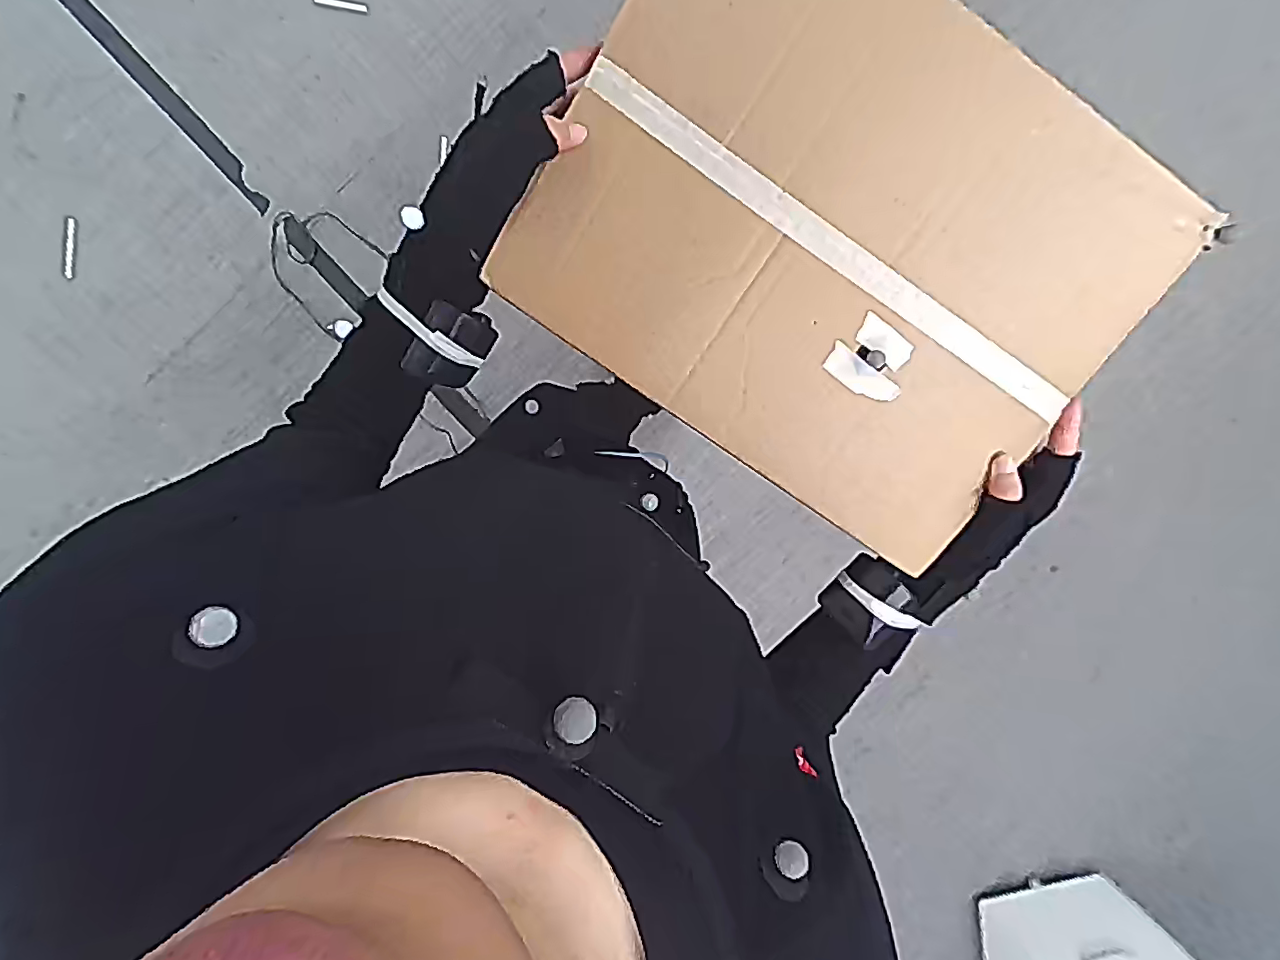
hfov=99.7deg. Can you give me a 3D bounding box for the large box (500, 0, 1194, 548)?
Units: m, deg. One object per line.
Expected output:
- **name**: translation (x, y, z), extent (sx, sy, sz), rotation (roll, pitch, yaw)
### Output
- **large box**: translation (0.144, -0.204, 0.534), extent (0.408, 0.320, 0.320), rotation (34, 104, -6)
